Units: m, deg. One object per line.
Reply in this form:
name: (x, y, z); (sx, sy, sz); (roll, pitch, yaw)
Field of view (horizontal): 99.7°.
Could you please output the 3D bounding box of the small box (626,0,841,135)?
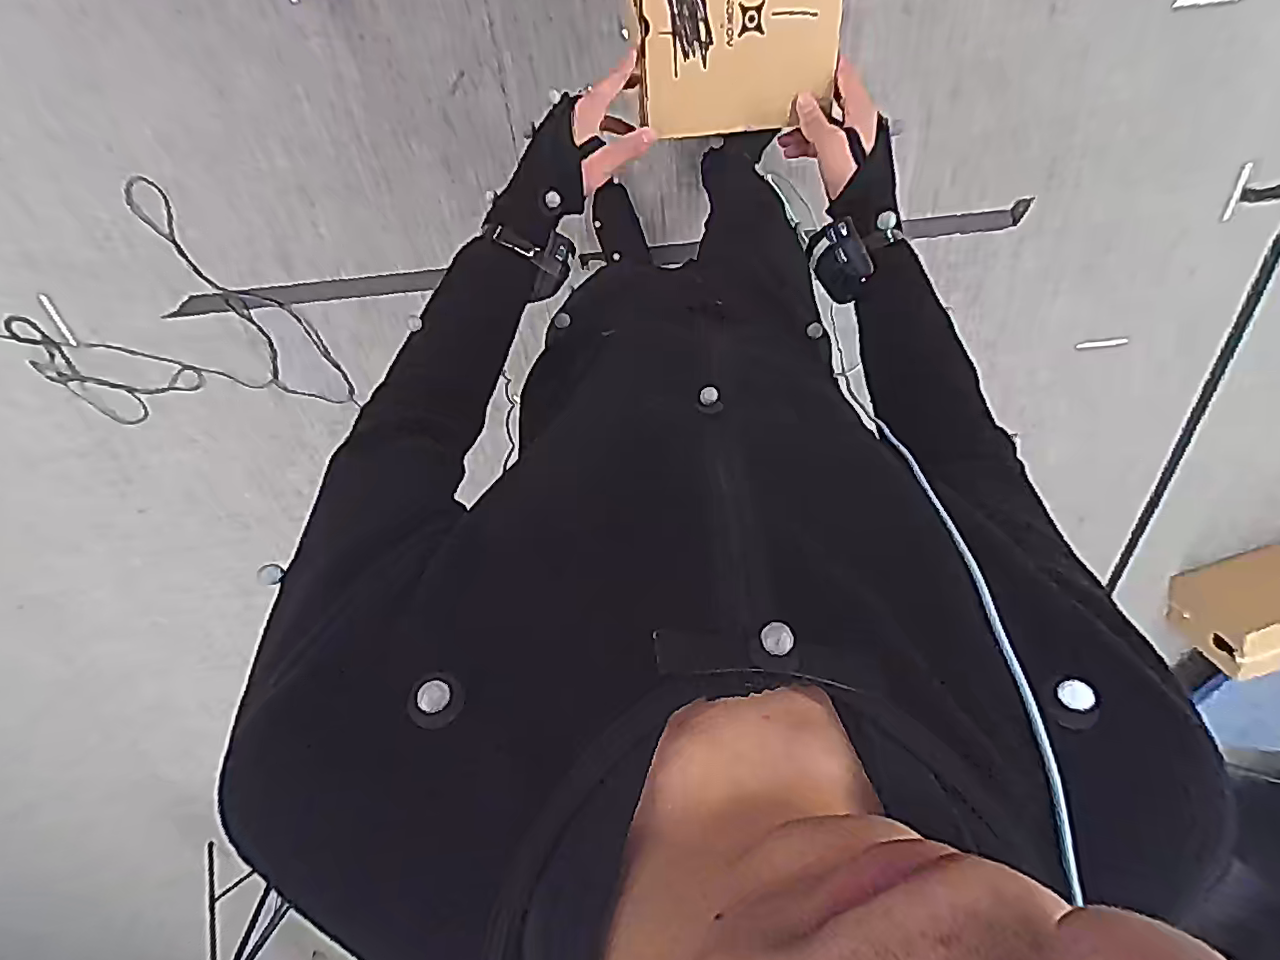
small box: (0.078, -0.436, 0.523); (0.179, 0.176, 0.168); (-7, 124, -2)
